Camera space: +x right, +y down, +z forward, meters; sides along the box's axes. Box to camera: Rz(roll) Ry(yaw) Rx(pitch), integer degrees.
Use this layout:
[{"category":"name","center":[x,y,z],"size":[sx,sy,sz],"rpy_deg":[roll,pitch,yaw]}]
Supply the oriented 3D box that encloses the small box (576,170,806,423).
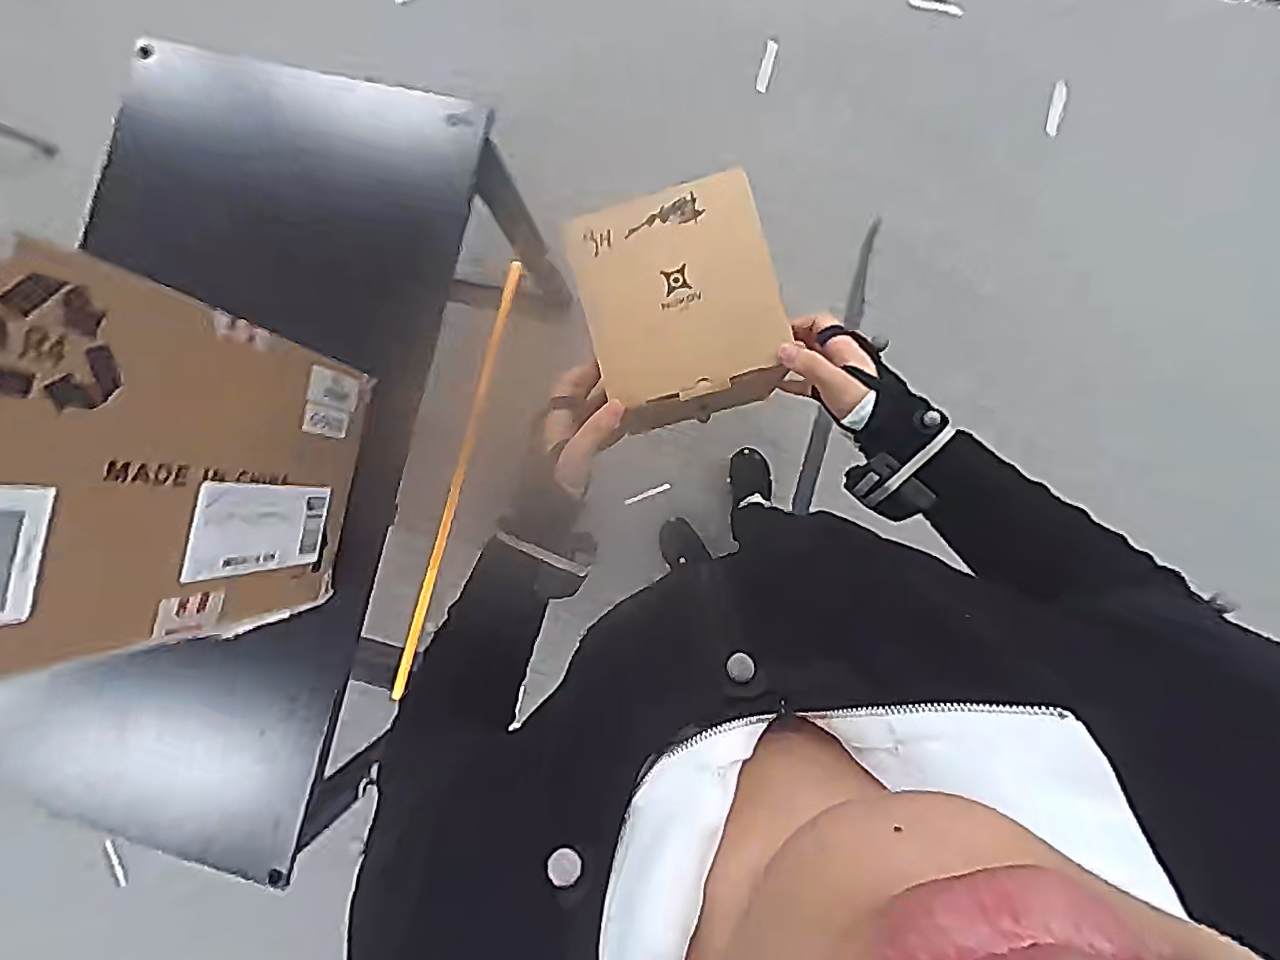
[{"category":"small box","center":[0.049,-0.159,0.538],"size":[0.168,0.176,0.179],"rpy_deg":[-14,89,4]}]
